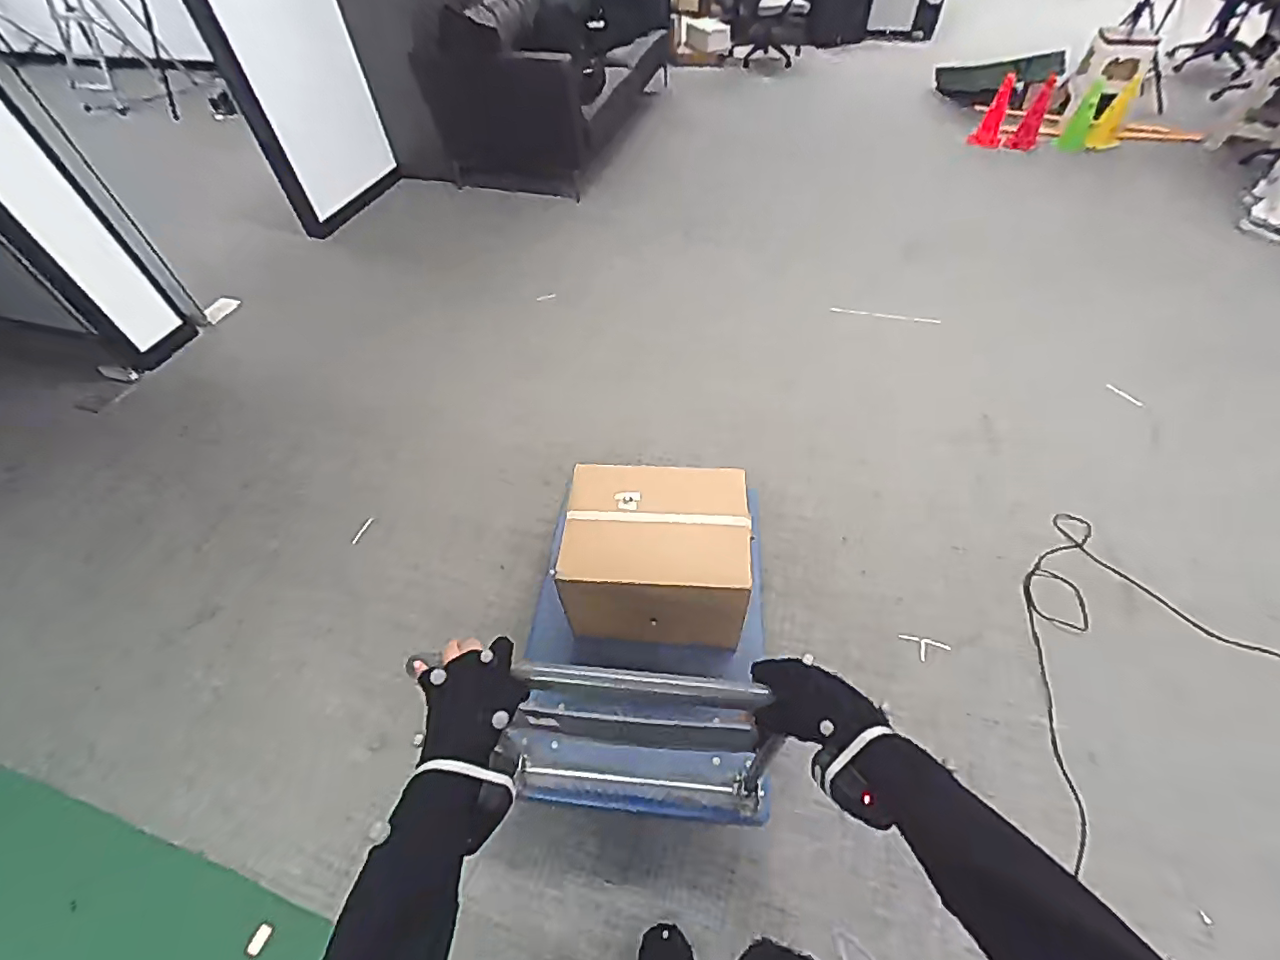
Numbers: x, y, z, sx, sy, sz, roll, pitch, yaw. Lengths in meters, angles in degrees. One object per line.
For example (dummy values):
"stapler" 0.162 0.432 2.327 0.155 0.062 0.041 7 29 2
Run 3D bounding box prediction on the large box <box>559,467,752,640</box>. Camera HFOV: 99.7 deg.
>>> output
"large box" 0.047 0.182 1.312 0.408 0.320 0.320 1 52 5
